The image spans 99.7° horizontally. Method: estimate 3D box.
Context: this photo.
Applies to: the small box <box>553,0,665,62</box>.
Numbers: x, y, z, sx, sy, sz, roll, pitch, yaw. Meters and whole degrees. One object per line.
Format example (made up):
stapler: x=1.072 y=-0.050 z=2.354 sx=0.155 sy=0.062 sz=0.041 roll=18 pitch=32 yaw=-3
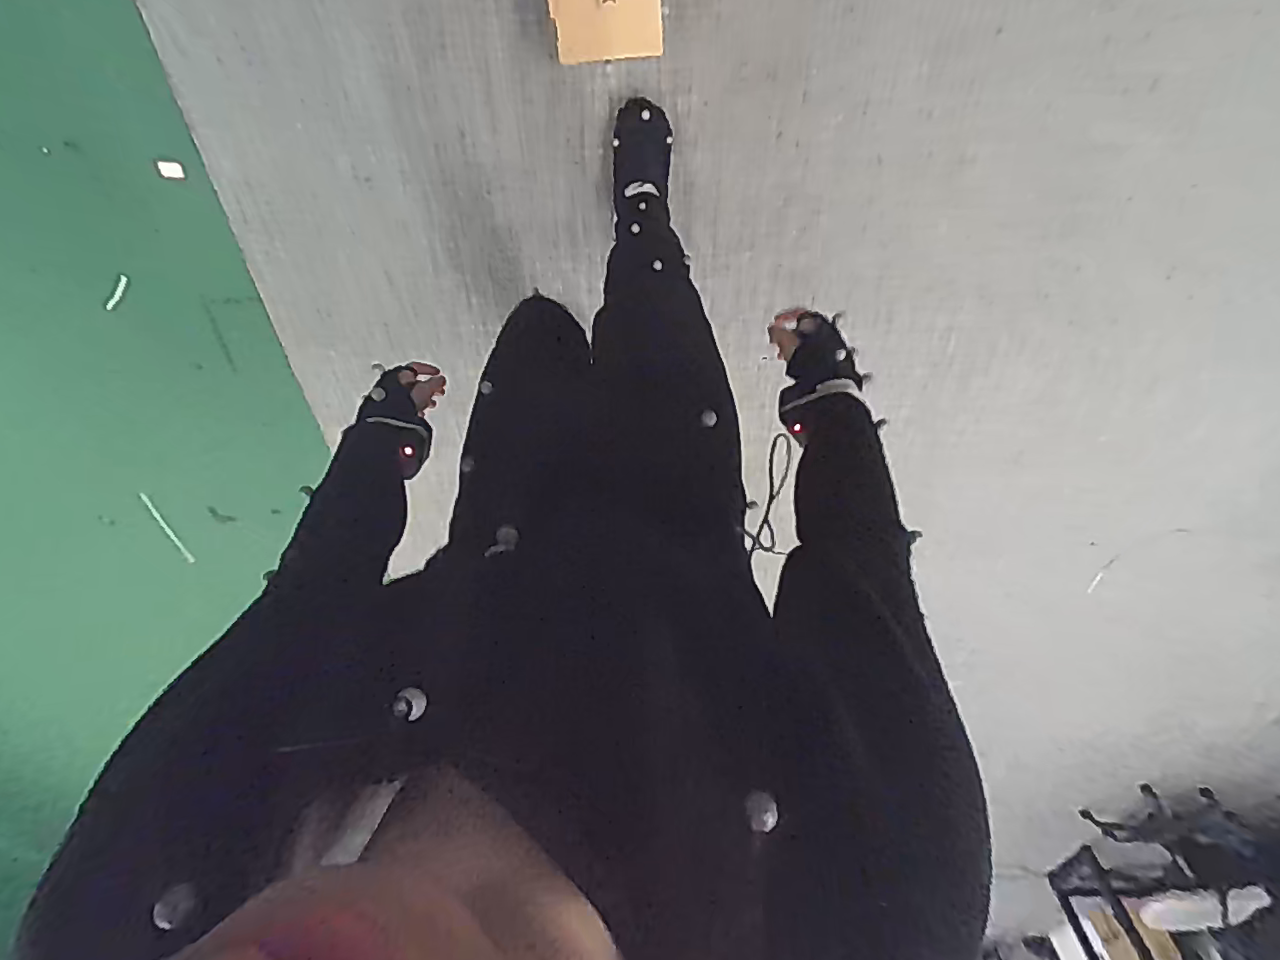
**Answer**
small box: x=-0.051 y=-0.810 z=0.900 sx=0.179 sy=0.176 sz=0.168 roll=-3 pitch=130 yaw=3
